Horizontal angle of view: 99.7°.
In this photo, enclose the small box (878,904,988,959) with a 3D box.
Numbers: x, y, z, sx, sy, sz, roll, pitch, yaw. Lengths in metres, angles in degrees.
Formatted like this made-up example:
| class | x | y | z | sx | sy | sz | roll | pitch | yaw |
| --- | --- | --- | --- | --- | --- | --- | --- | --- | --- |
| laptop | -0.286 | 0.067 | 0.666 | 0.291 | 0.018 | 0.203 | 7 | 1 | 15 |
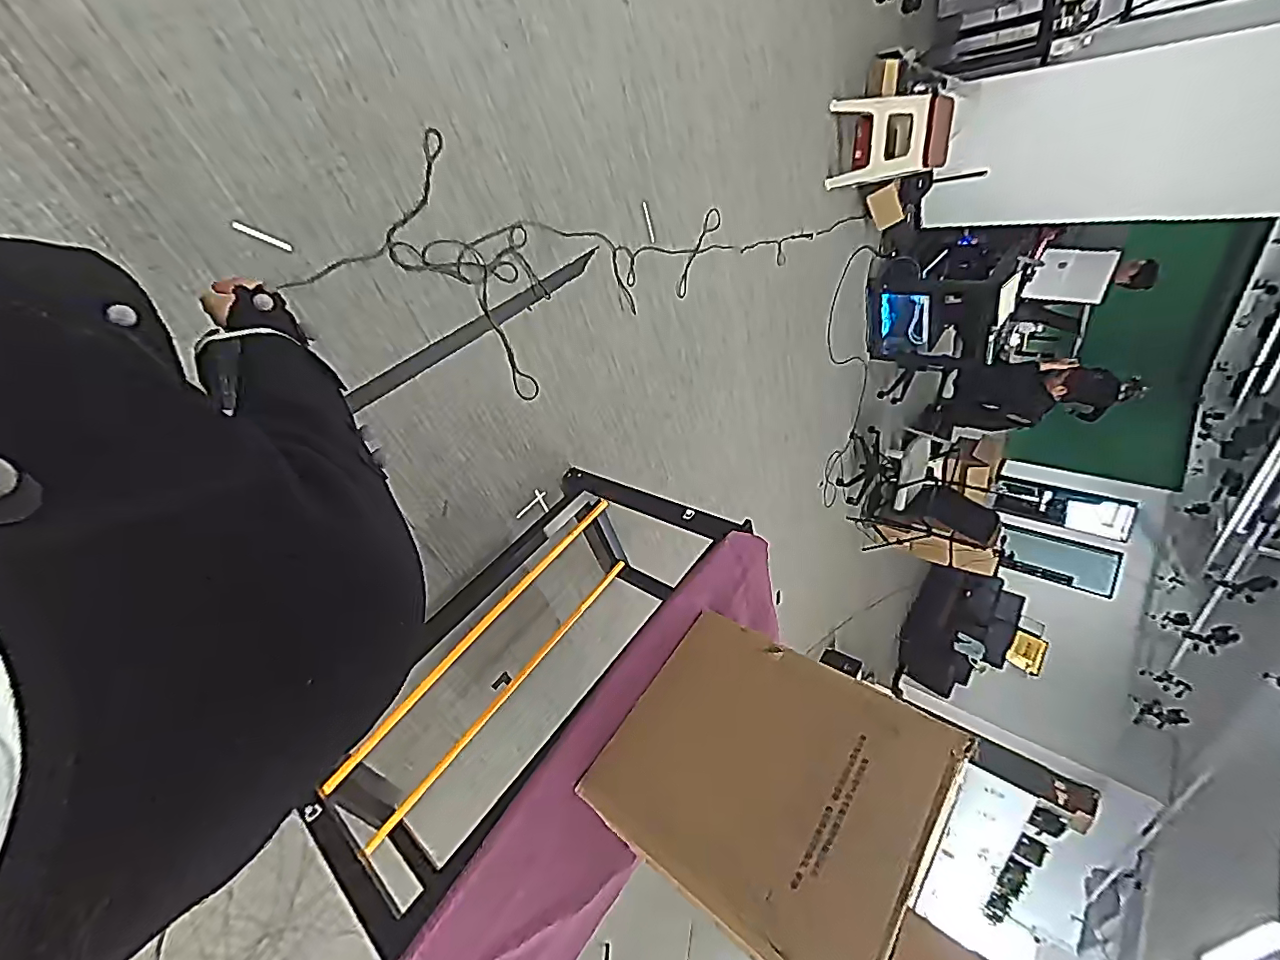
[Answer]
| class | x | y | z | sx | sy | sz | roll | pitch | yaw |
| --- | --- | --- | --- | --- | --- | --- | --- | --- | --- |
| small box | 0.466 | 0.833 | 0.862 | 0.179 | 0.176 | 0.168 | -47 | 135 | -31 |
